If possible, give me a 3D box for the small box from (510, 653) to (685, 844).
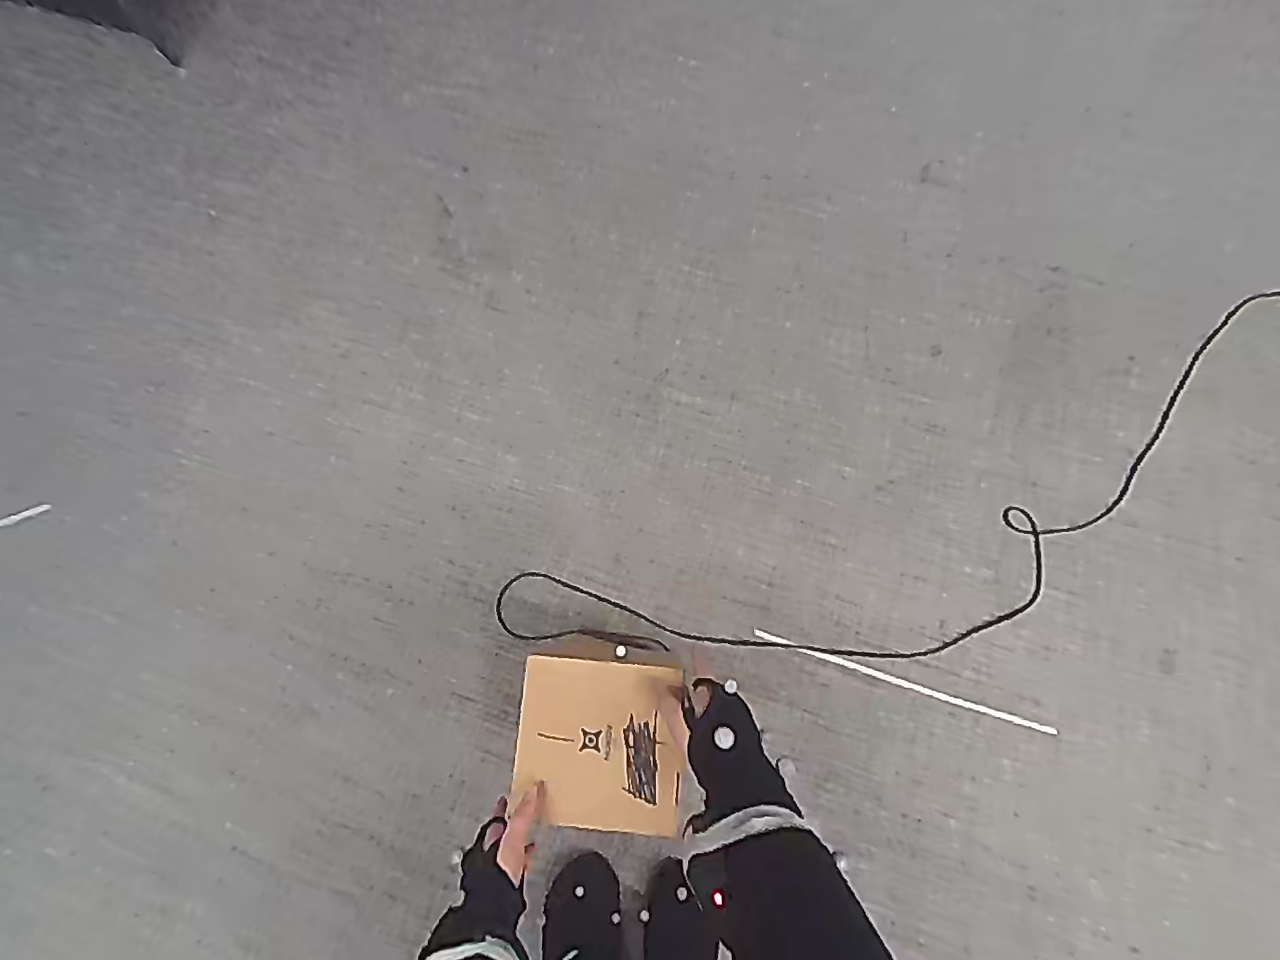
[{"bbox_3d":[-0.039,0.306,0.652,0.179,0.176,0.168,3,77,4],"label":"small box"}]
